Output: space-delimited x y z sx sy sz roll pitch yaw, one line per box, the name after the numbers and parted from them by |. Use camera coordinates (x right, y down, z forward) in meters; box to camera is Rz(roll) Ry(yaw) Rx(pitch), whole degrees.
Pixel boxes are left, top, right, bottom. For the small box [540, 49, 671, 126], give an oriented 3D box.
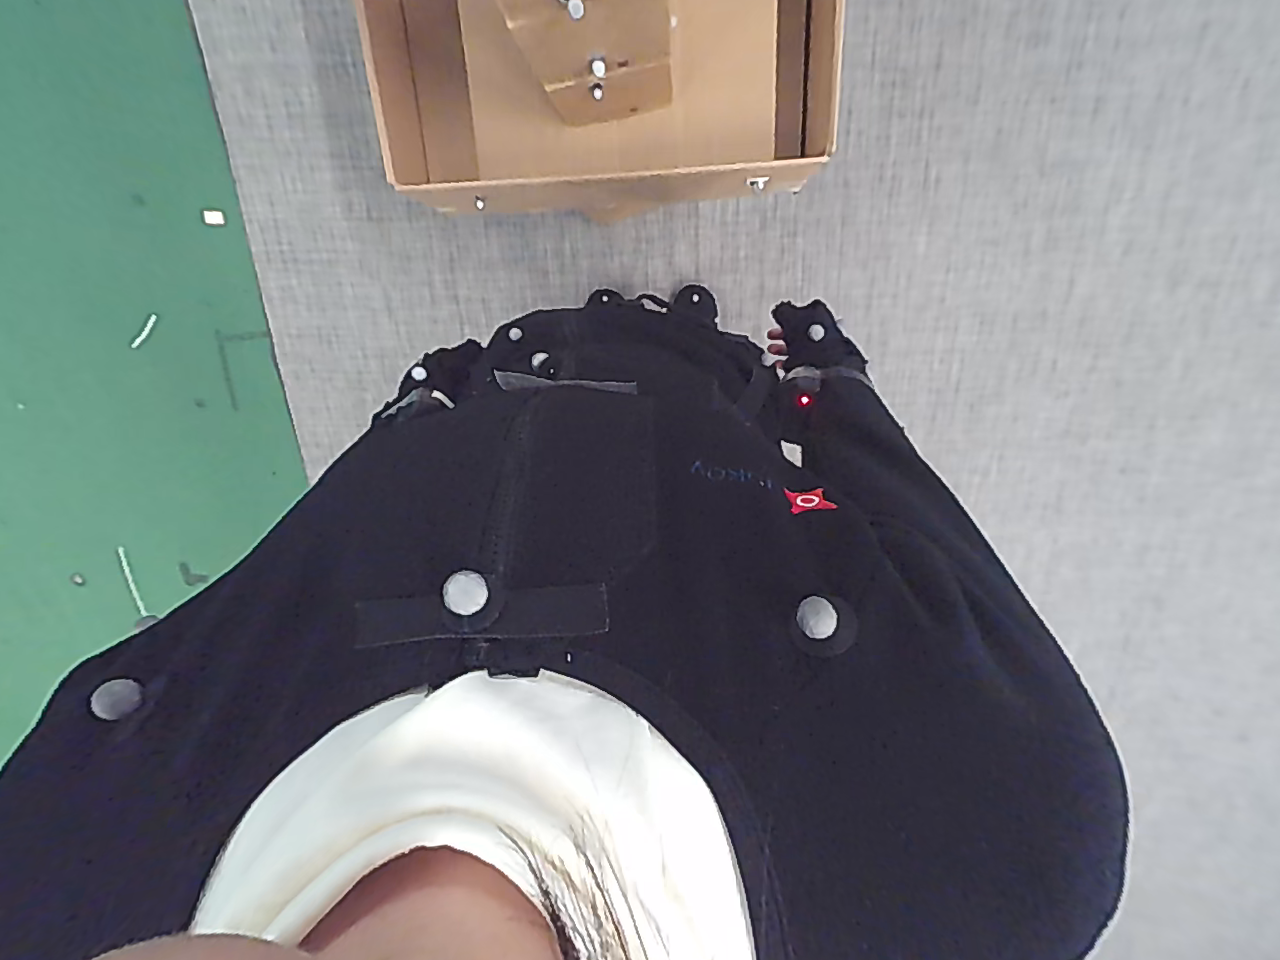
-0.050 -0.615 0.729 0.168 0.176 0.179 -7 107 8 | small box

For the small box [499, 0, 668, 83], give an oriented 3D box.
-0.061 -0.564 0.574 0.168 0.176 0.179 -7 109 7 | small box

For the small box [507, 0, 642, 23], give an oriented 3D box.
-0.066 -0.511 0.421 0.168 0.176 0.179 -6 109 8 | small box
